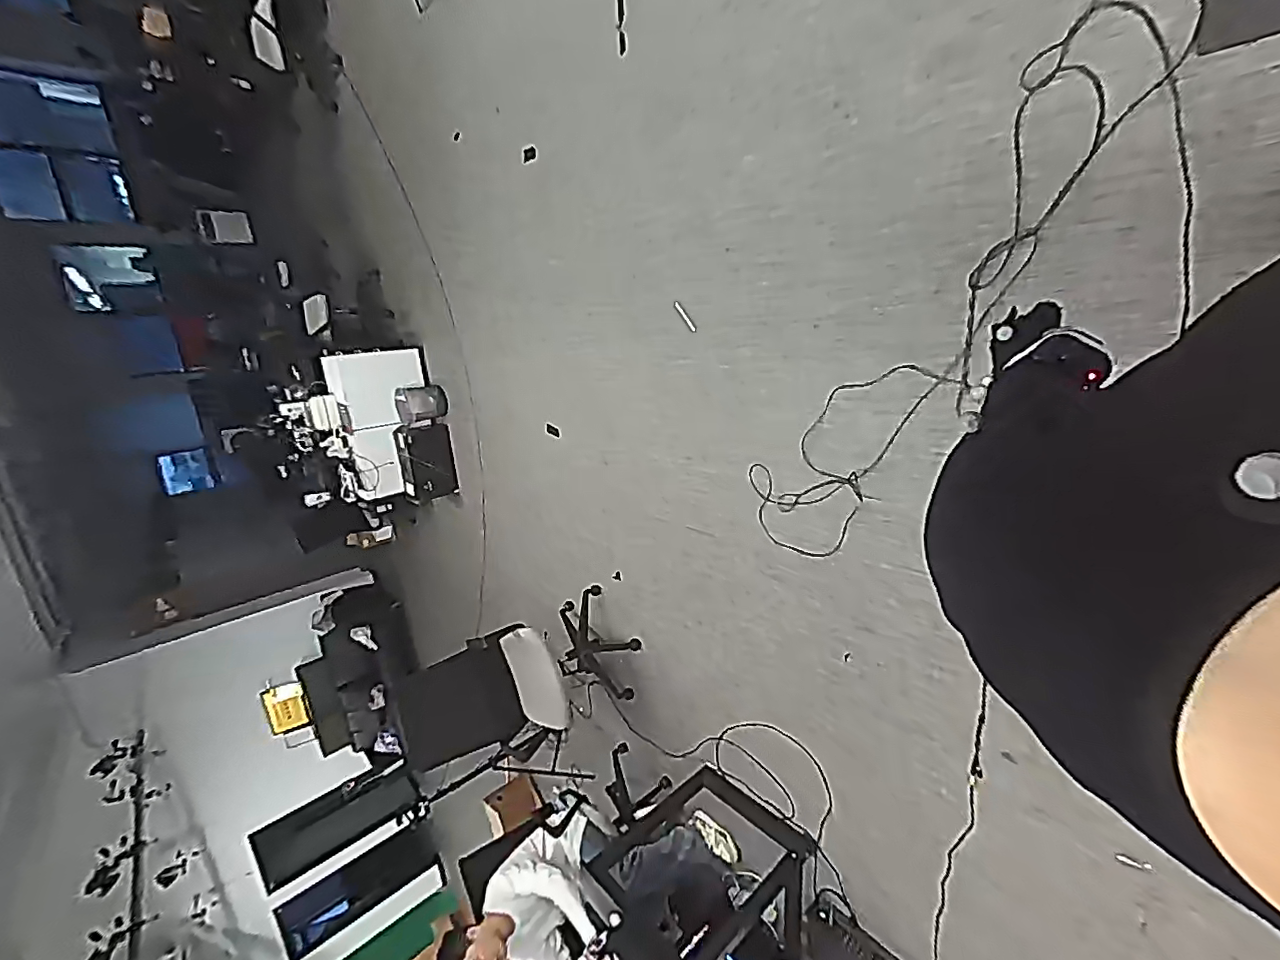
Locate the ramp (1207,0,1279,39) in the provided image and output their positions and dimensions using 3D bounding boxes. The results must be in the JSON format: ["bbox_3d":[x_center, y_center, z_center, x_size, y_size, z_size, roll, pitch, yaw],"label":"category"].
[{"bbox_3d":[1.050,-1.181,0.585,0.509,0.206,0.991,10,112,47],"label":"ramp"}]
